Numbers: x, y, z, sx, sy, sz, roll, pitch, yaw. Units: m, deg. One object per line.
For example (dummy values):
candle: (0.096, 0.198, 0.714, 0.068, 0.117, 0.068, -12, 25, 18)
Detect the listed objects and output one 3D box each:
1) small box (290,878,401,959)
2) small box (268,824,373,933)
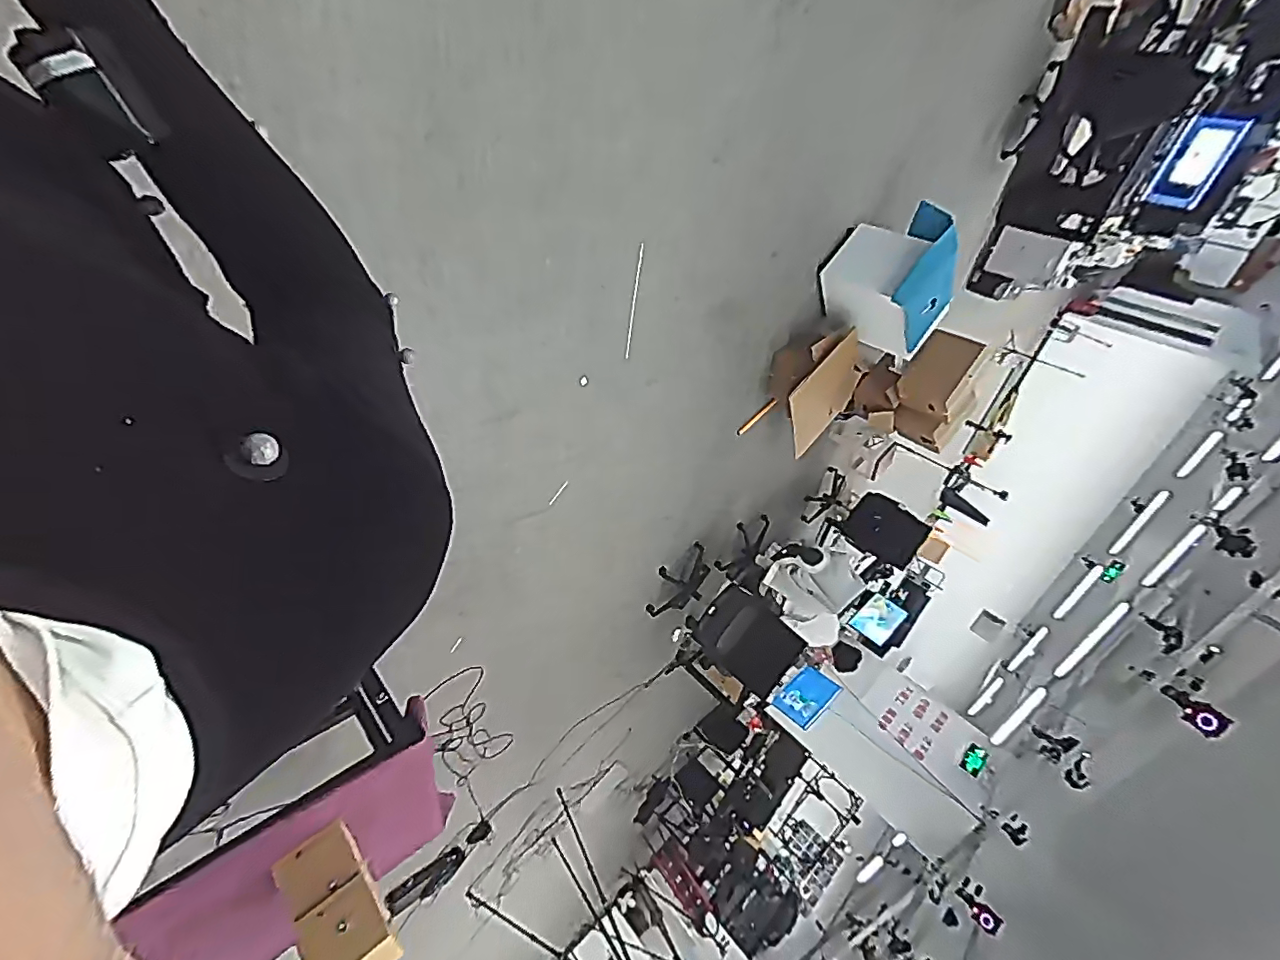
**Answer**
small box: (-0.699, 1.100, 1.285, 0.168, 0.176, 0.179, -27, 139, -35)
small box: (-0.814, 1.030, 1.383, 0.168, 0.176, 0.179, -29, 141, -35)
